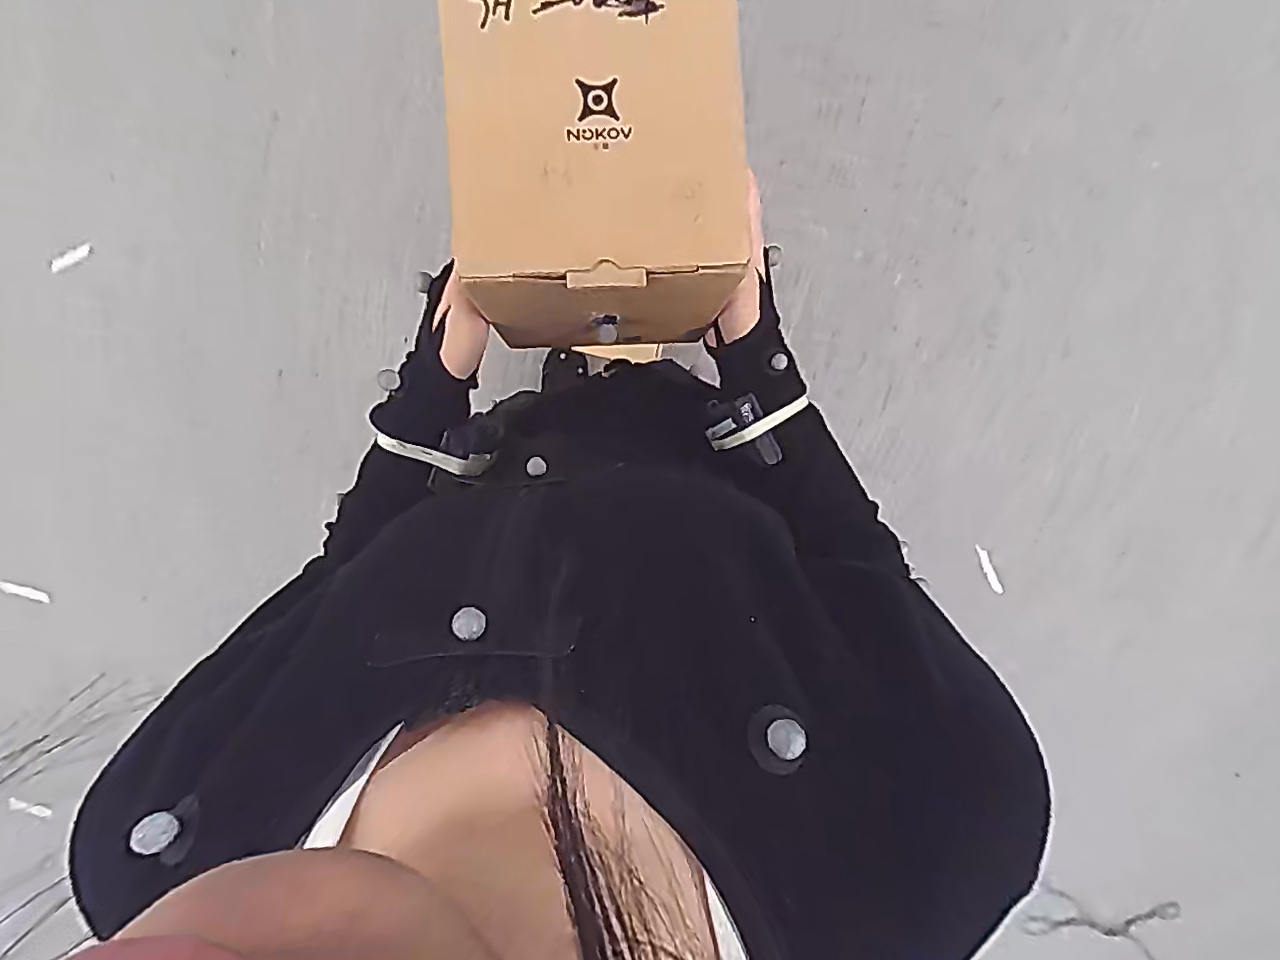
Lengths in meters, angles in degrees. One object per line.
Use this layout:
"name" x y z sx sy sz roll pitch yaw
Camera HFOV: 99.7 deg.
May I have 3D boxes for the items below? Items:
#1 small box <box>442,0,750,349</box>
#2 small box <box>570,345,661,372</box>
"small box" -0.027 -0.193 0.379 0.168 0.176 0.179 -4 92 -4
"small box" -0.036 -0.335 1.167 0.179 0.176 0.168 14 104 -1
